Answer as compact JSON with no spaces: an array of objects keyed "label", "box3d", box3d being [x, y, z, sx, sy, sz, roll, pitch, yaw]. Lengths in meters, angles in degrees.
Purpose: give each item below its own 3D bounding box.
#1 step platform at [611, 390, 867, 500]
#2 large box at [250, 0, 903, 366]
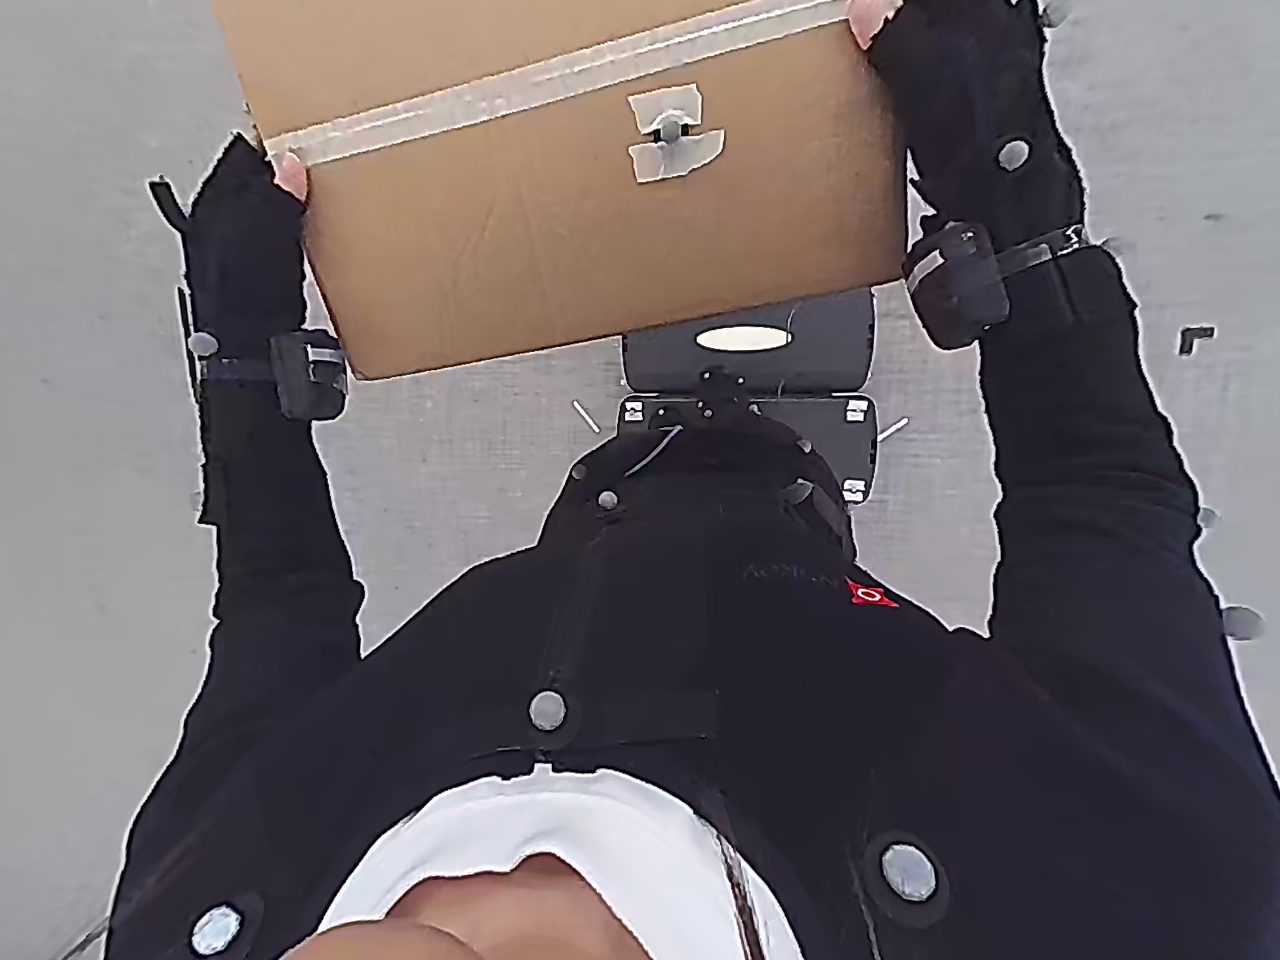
[{"label":"step platform","box3d":[0.260,-0.100,1.497,0.684,0.204,0.286,1,99,12]},{"label":"large box","box3d":[-0.031,-0.310,0.486,0.408,0.320,0.320,-8,110,9]}]
